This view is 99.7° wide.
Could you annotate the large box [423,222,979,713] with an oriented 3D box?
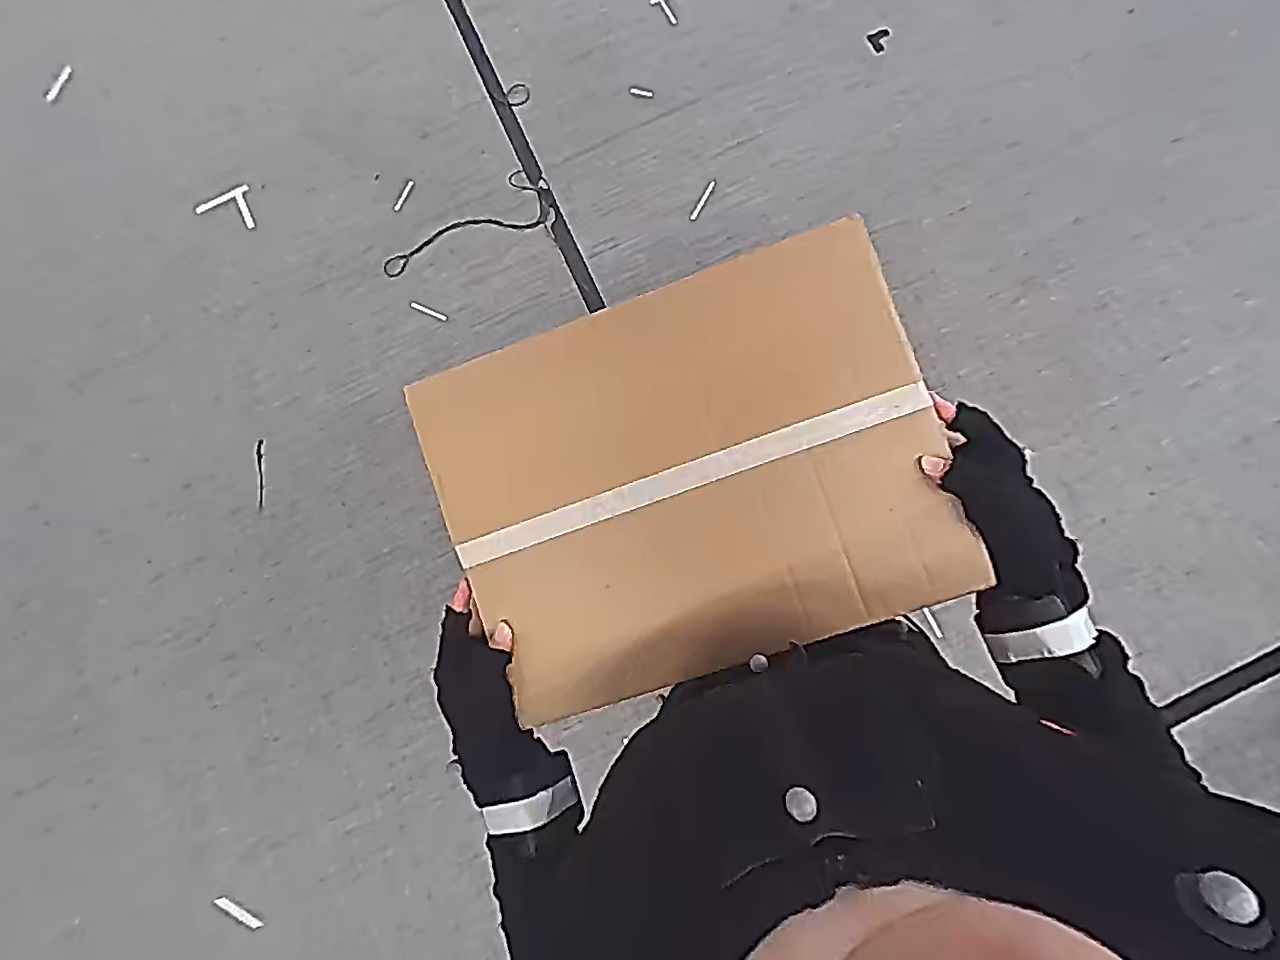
[{"bbox_3d":[0.053,-0.002,0.603,0.408,0.320,0.320,-19,89,6],"label":"large box"}]
